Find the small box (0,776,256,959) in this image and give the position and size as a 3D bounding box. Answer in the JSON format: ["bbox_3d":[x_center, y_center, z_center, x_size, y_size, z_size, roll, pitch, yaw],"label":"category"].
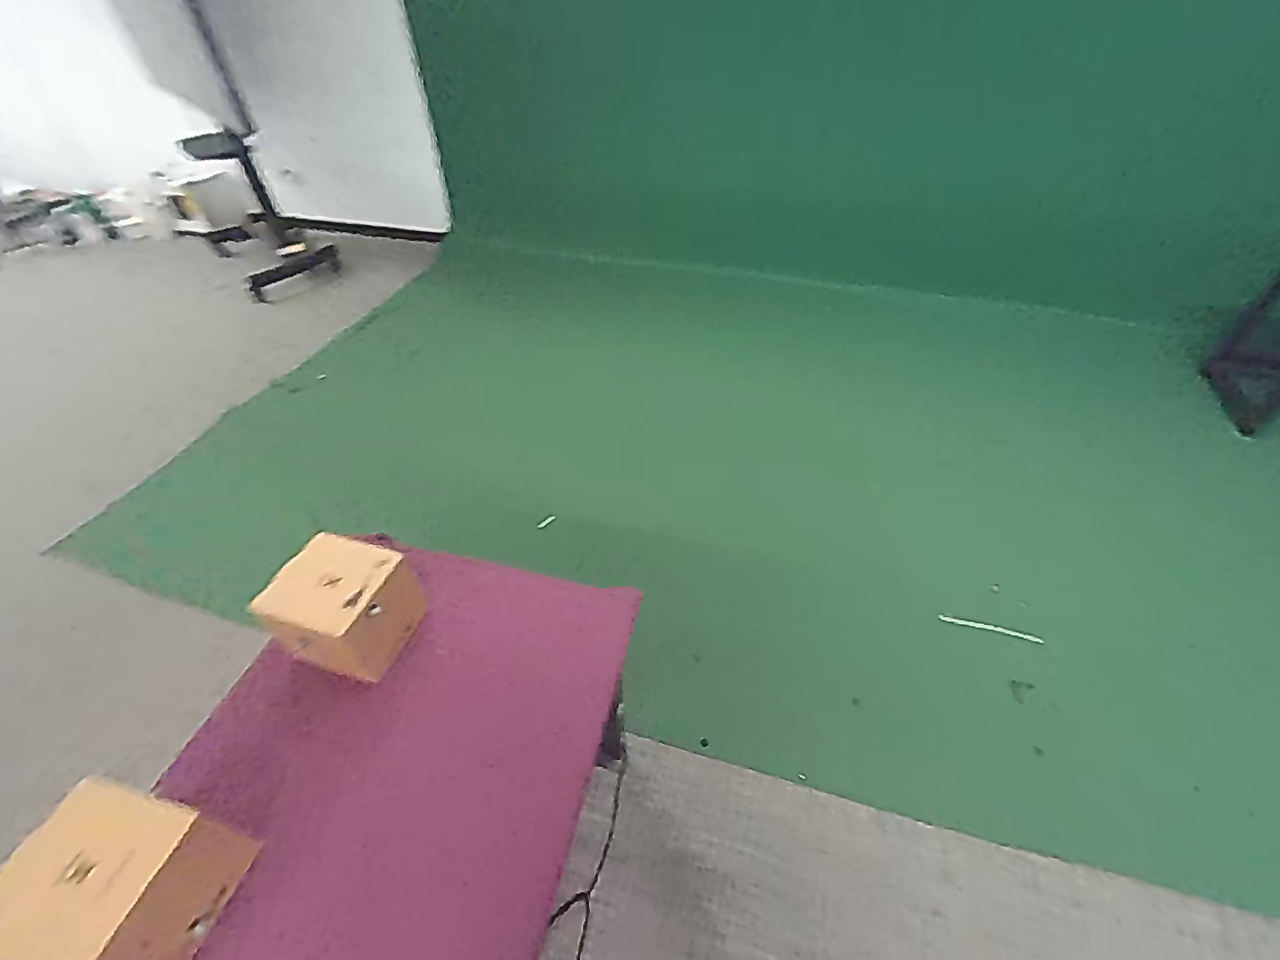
[{"bbox_3d":[-0.636,0.497,0.664,0.179,0.176,0.168,10,47,9],"label":"small box"}]

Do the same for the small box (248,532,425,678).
[{"bbox_3d":[-0.513,0.220,0.941,0.179,0.176,0.168,12,47,12],"label":"small box"}]
